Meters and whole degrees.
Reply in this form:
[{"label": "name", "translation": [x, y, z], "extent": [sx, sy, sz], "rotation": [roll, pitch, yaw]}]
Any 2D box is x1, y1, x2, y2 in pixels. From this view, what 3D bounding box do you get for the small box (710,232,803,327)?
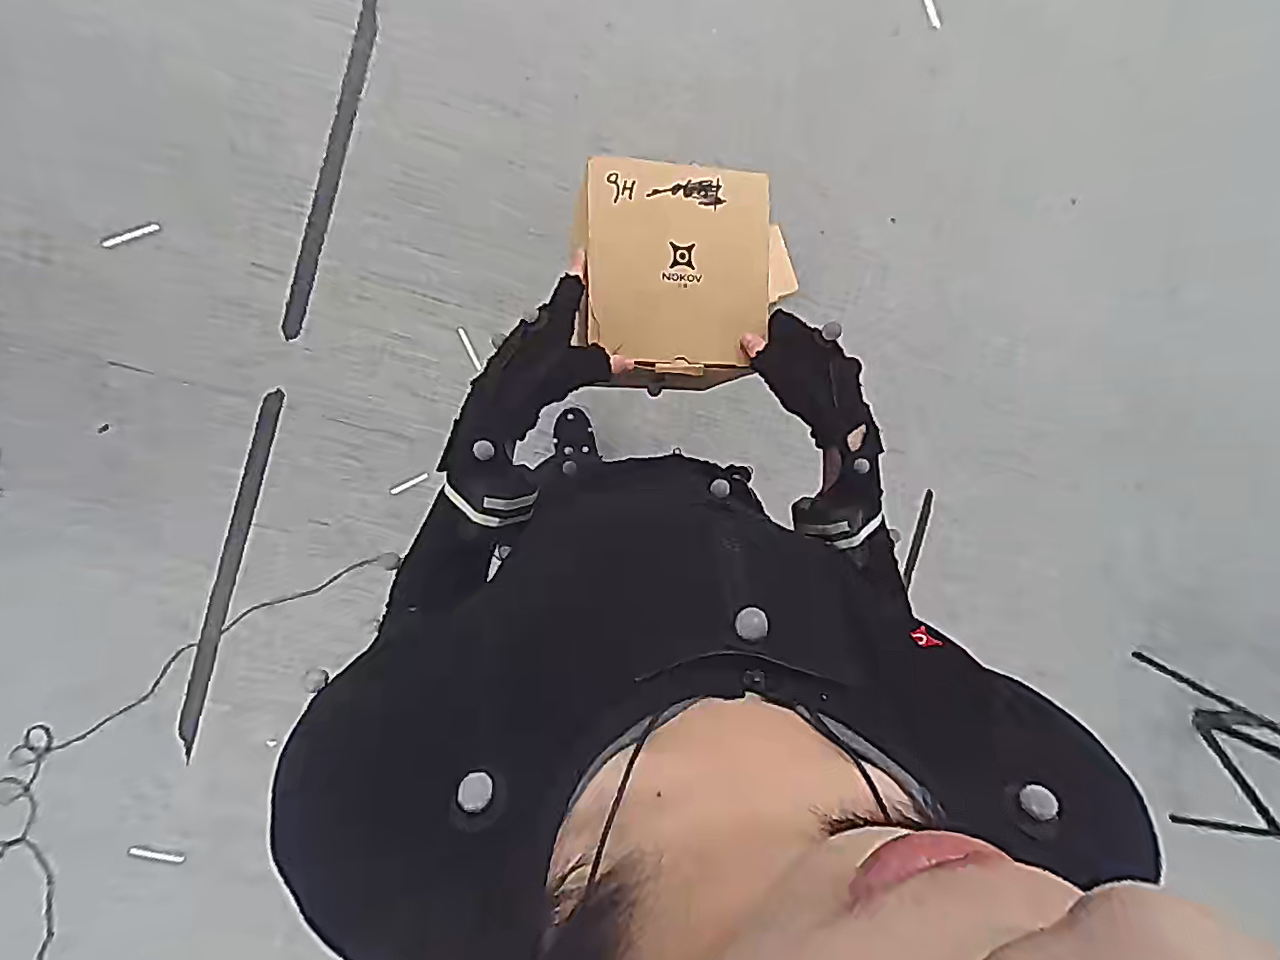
[{"label": "small box", "translation": [0.300, -0.516, 1.426], "extent": [0.168, 0.176, 0.179], "rotation": [-21, 95, -5]}]
